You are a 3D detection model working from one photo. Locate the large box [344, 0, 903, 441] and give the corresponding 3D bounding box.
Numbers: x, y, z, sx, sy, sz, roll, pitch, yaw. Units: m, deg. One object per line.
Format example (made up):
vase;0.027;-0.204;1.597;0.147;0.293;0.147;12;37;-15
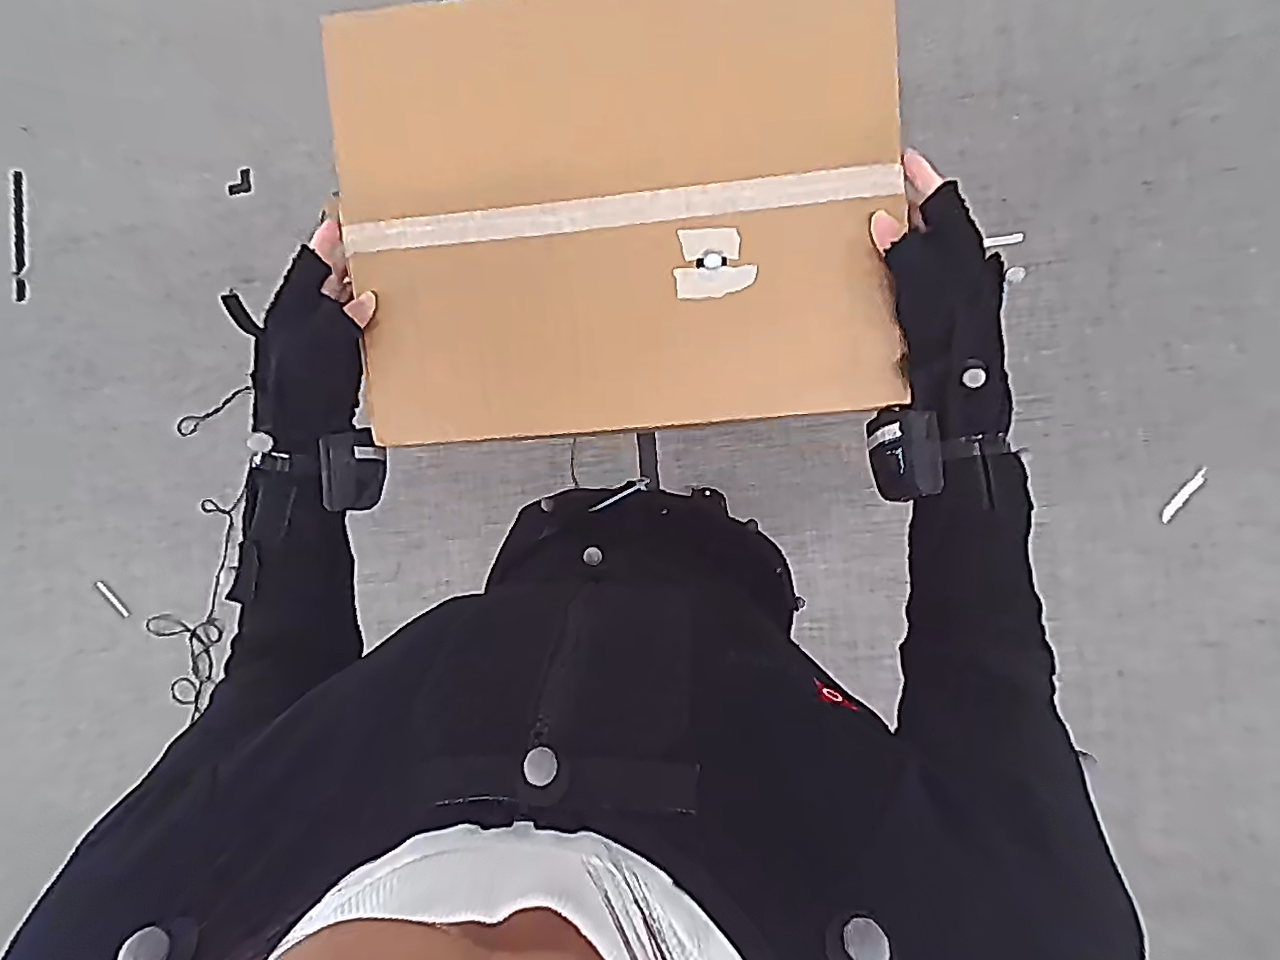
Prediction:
large box;-0.007;-0.214;0.553;0.408;0.320;0.320;-5;96;3
